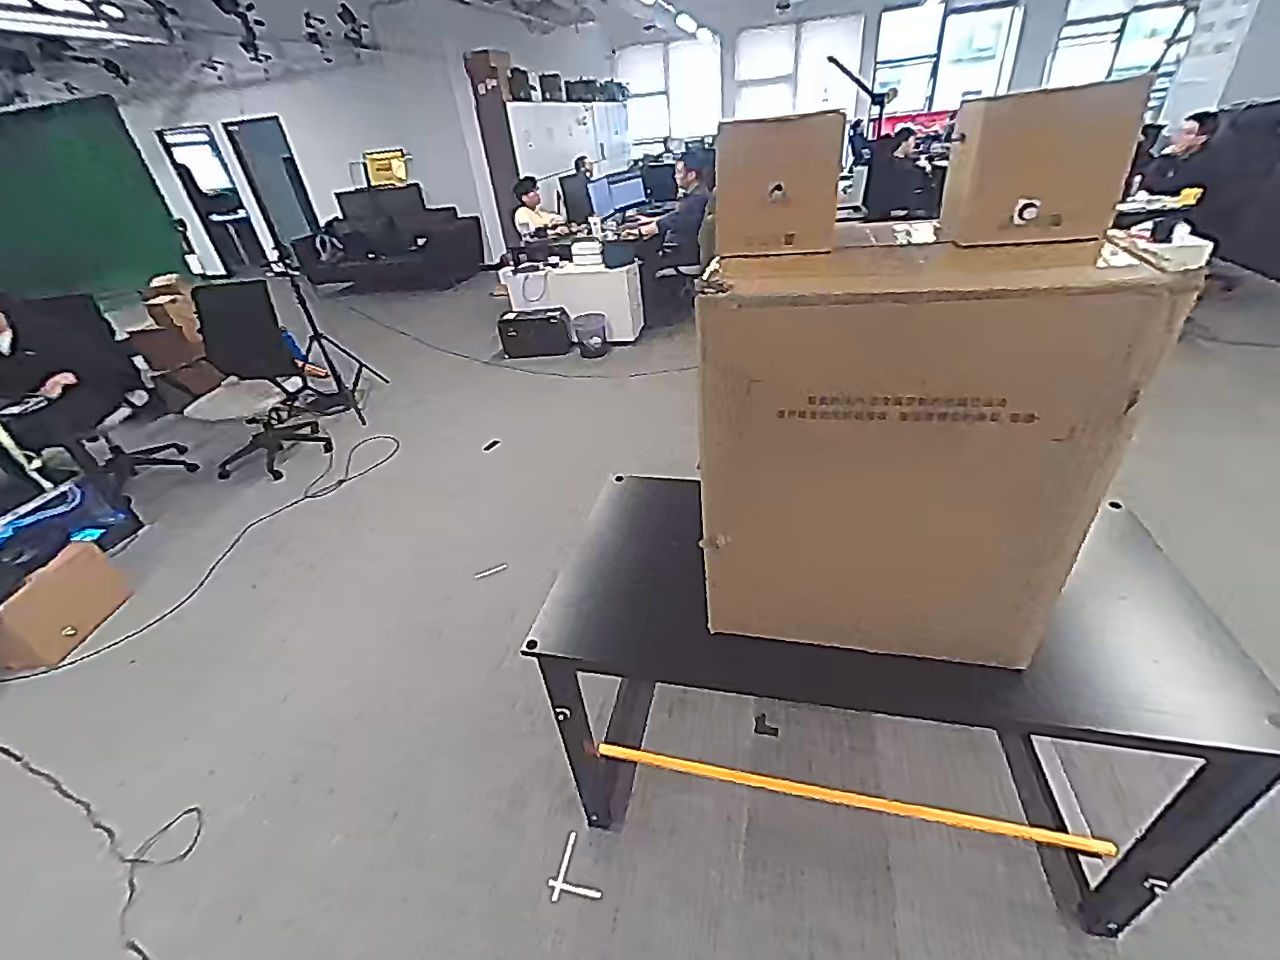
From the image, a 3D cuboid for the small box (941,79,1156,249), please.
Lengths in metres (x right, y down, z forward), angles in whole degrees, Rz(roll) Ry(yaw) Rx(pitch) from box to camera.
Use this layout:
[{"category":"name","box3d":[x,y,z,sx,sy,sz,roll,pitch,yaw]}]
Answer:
[{"category":"small box","box3d":[0.514,-0.411,0.716,0.168,0.176,0.179,2,33,18]}]

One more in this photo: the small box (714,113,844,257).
[{"category":"small box","box3d":[0.199,-0.434,0.804,0.168,0.176,0.179,1,34,10]}]
